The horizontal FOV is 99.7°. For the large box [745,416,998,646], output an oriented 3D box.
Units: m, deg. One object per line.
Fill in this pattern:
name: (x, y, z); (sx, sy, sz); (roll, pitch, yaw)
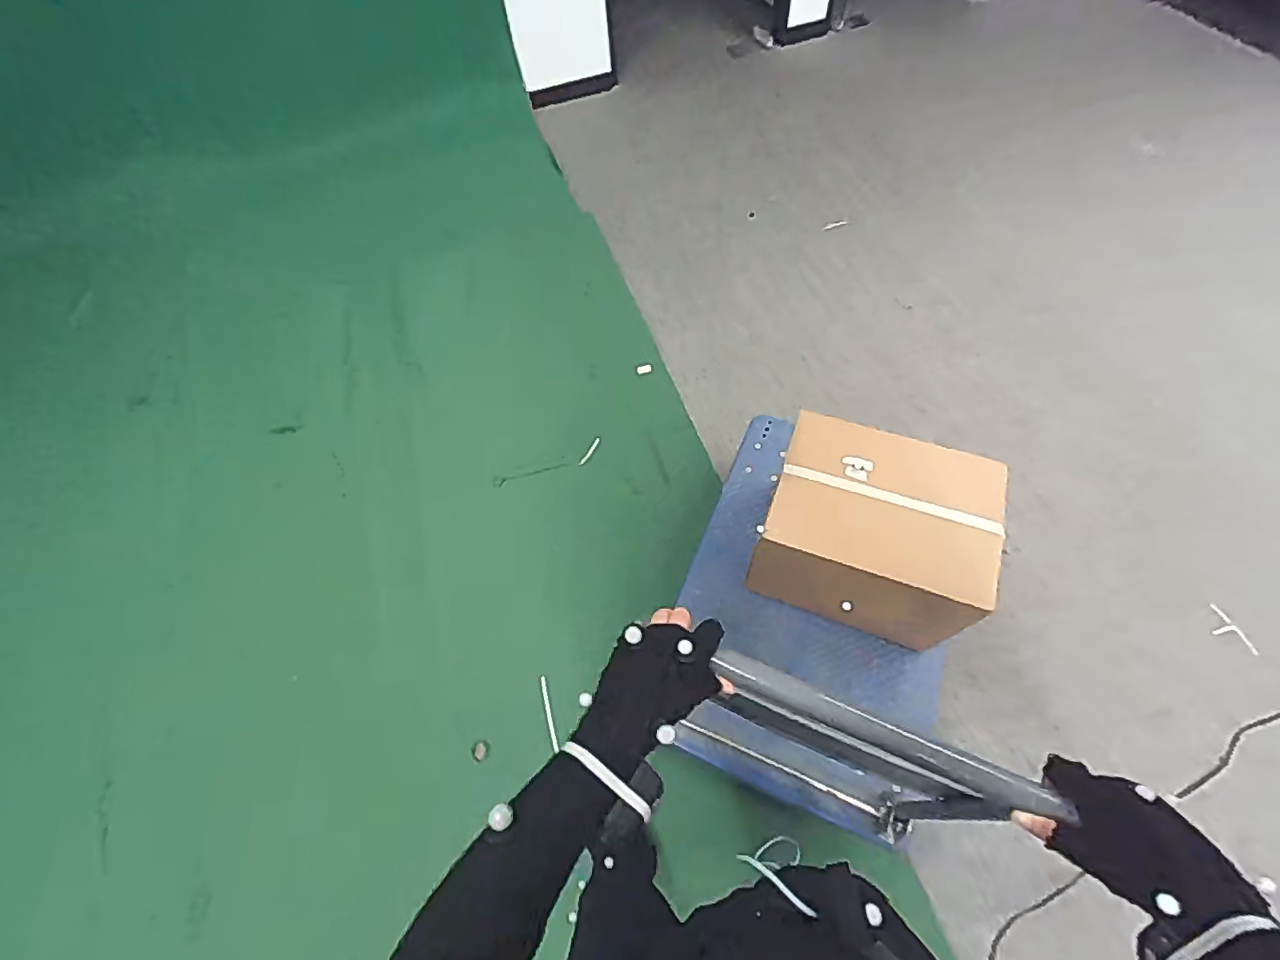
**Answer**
large box: (0.468, 0.115, 1.152); (0.408, 0.320, 0.320); (17, 63, 15)
